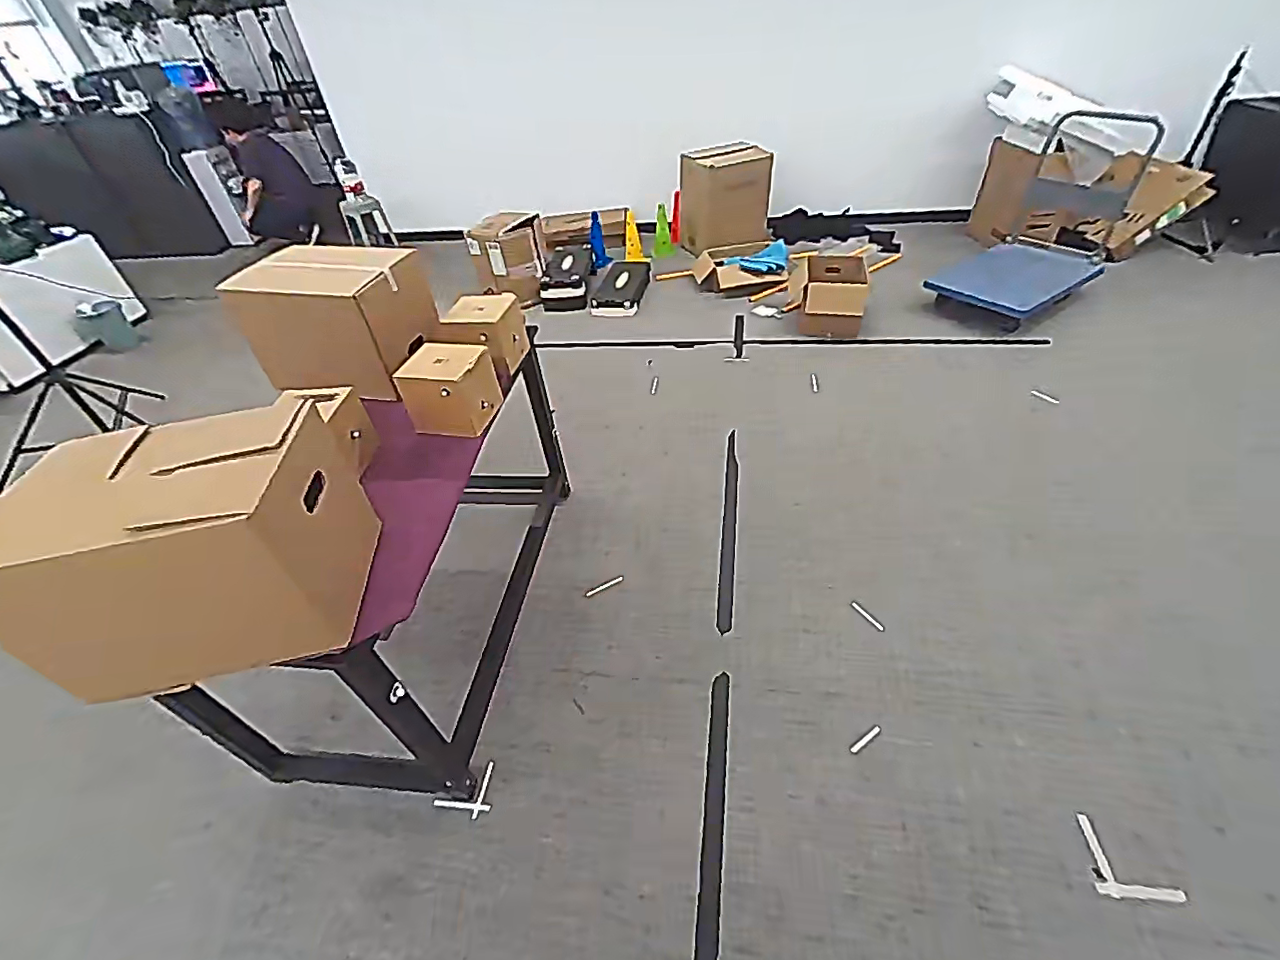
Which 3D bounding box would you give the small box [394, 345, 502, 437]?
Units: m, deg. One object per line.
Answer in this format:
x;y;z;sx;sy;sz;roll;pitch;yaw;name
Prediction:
-0.473;-0.223;1.361;0.179;0.176;0.168;6;43;12;small box

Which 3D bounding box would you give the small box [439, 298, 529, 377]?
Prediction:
-0.440;-0.410;1.561;0.179;0.176;0.168;2;42;12;small box
